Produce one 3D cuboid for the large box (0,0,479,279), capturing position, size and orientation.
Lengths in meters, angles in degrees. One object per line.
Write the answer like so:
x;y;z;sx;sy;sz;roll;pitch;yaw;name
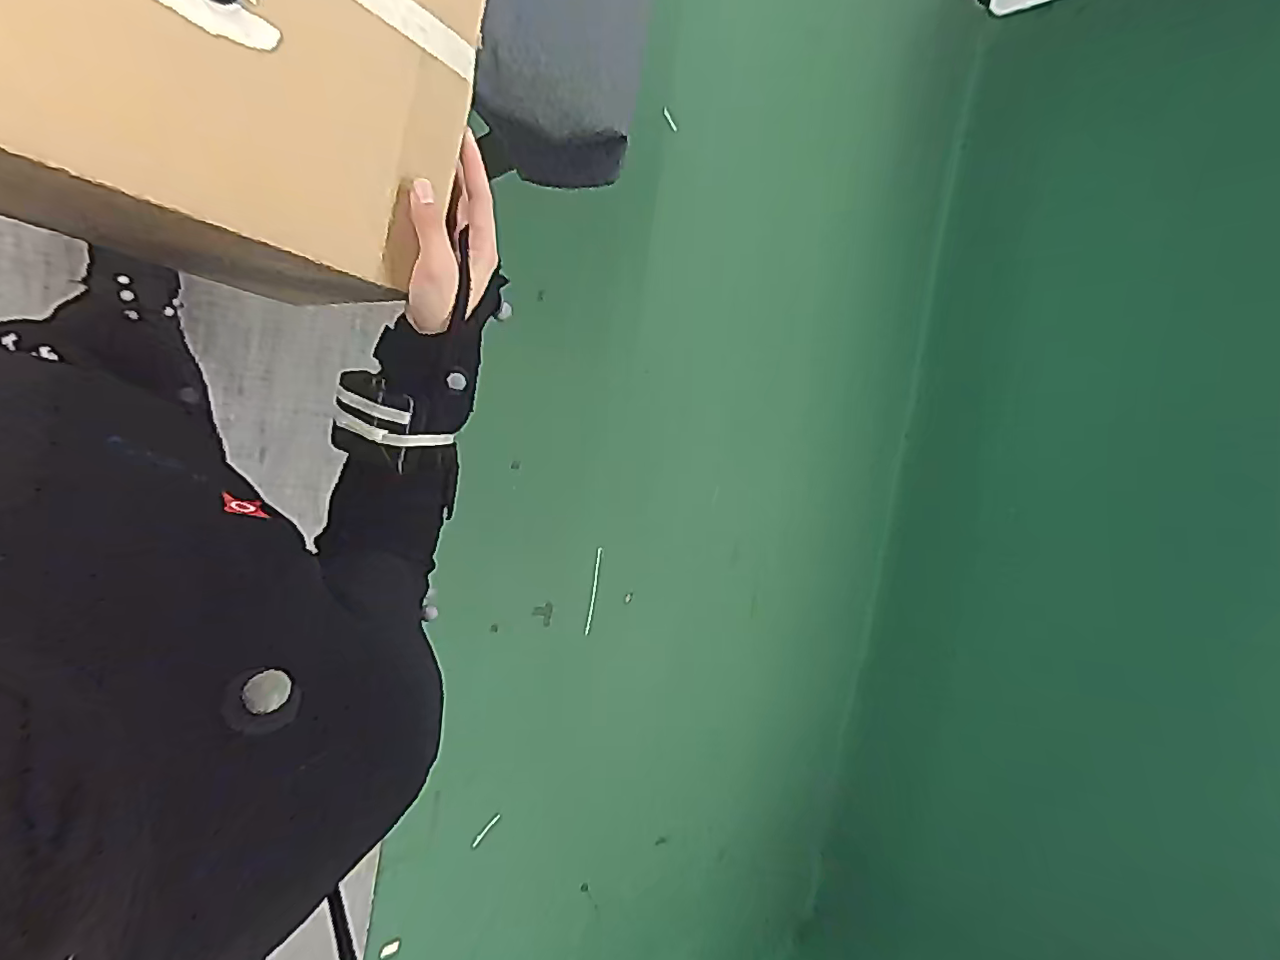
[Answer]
-0.357;-0.345;0.323;0.408;0.320;0.320;8;97;-48;large box
